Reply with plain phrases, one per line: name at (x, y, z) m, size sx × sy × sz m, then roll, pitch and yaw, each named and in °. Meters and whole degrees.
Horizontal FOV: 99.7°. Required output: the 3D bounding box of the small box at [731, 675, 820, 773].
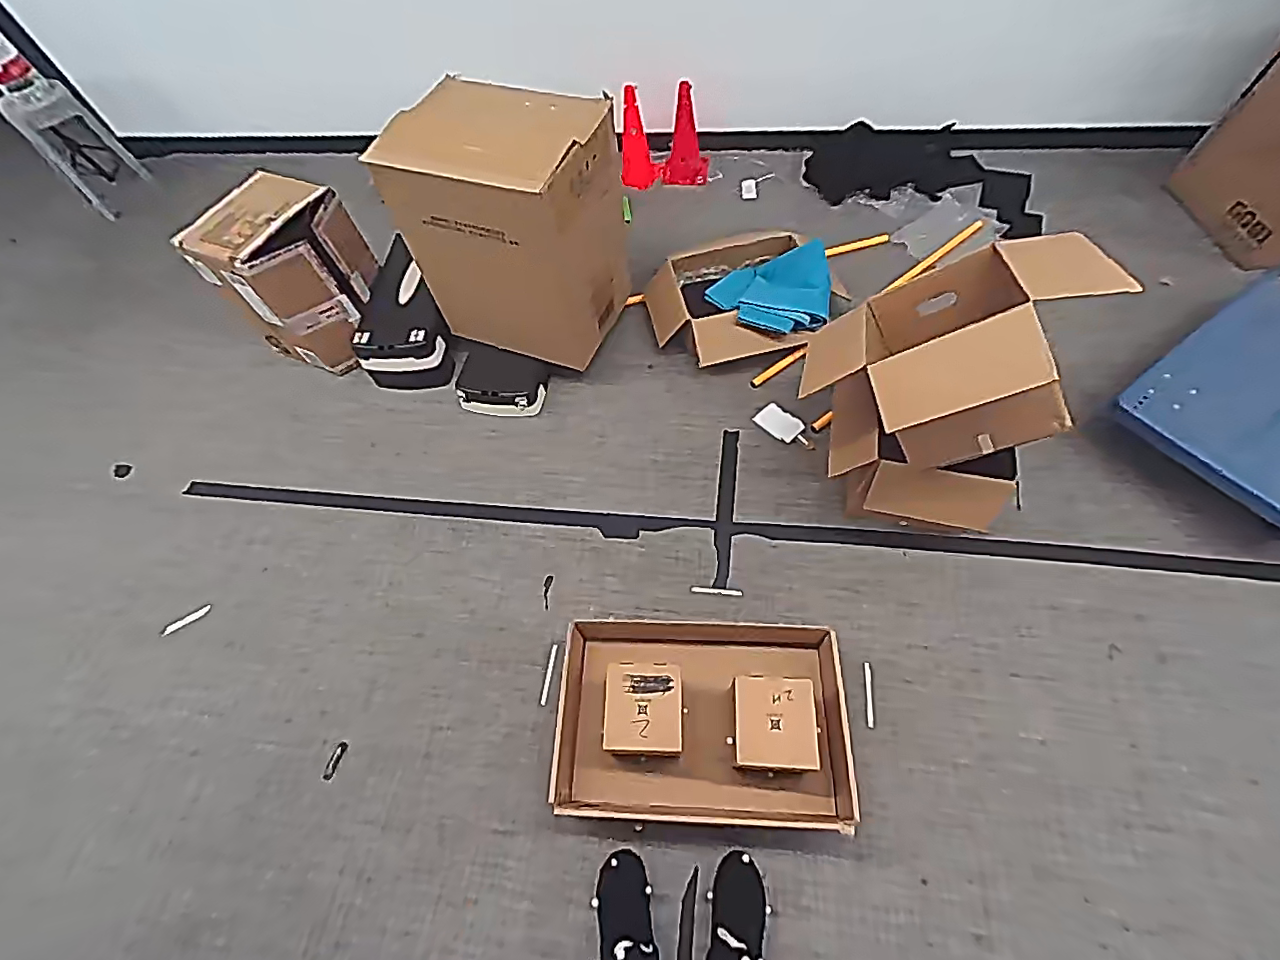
small box at (0.289, 0.539, 1.187) m, size 0.168 × 0.176 × 0.179 m, roll 1°, pitch 59°, yaw 6°
